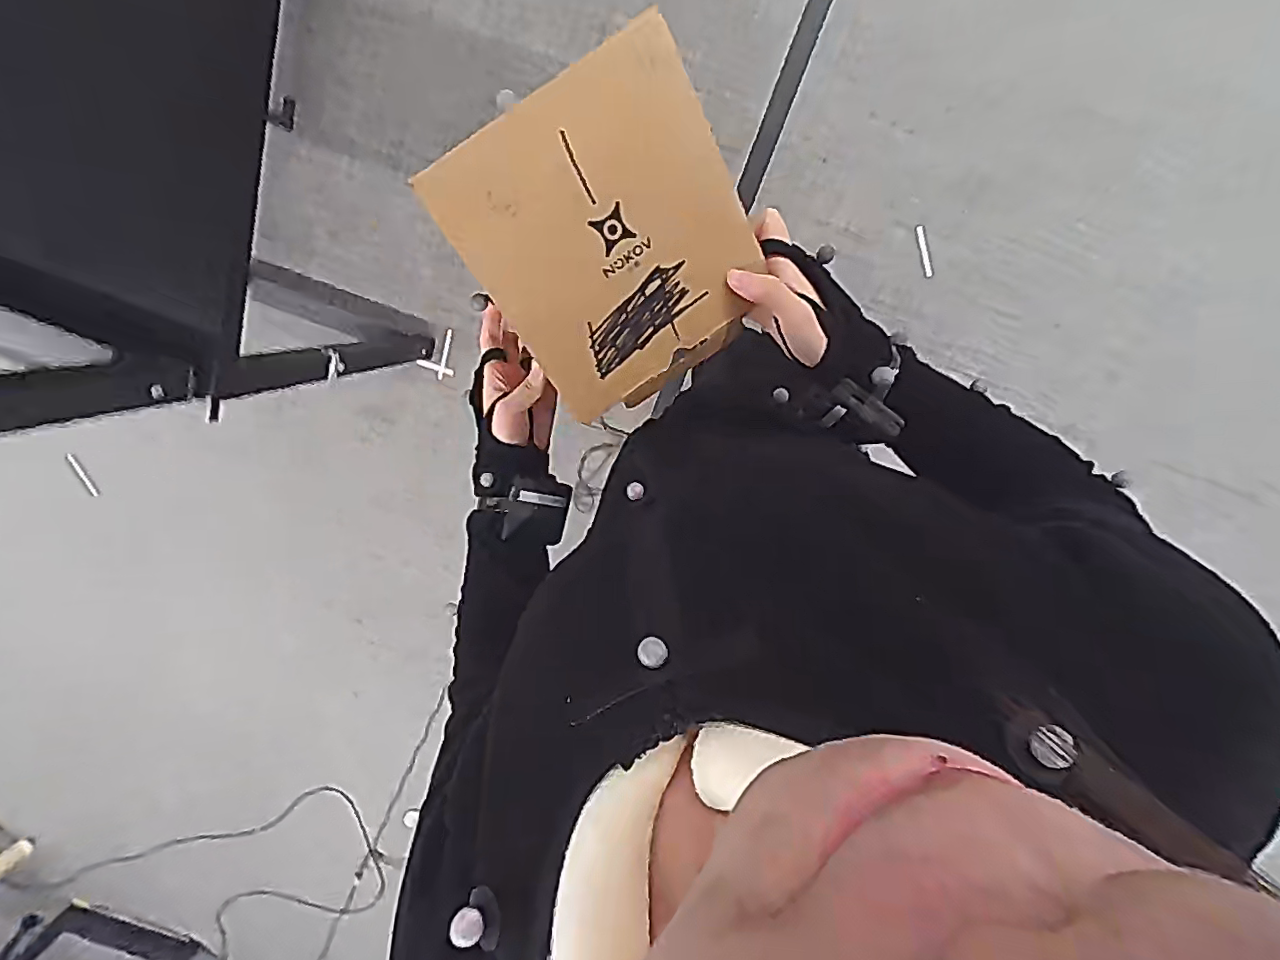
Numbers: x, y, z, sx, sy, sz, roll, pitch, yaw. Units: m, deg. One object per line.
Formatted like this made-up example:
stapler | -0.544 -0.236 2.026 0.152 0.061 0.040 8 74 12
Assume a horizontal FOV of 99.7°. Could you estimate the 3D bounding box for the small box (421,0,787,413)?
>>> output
small box | -0.031 -0.183 0.390 0.168 0.176 0.179 -35 121 -2
